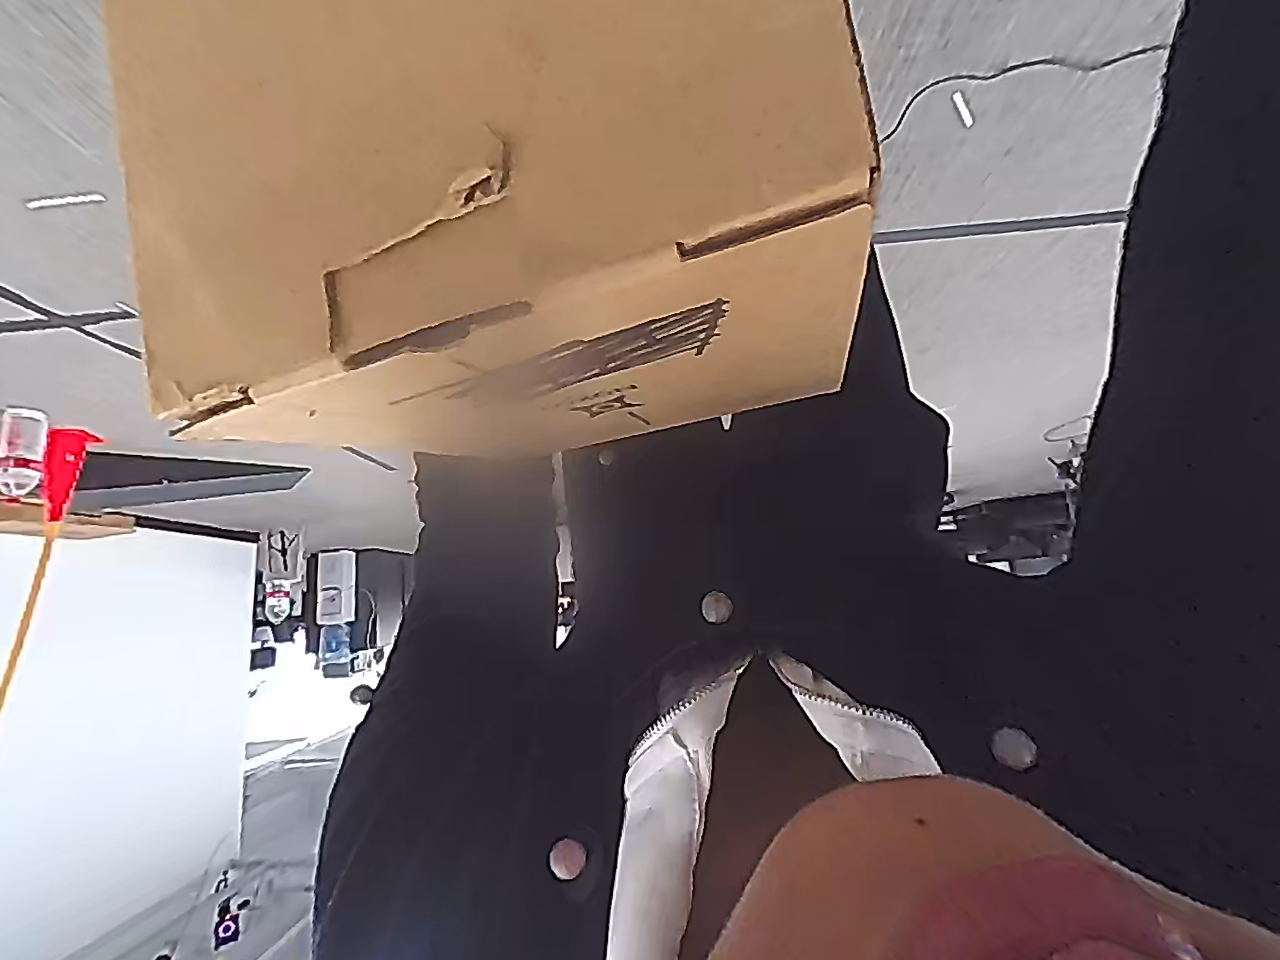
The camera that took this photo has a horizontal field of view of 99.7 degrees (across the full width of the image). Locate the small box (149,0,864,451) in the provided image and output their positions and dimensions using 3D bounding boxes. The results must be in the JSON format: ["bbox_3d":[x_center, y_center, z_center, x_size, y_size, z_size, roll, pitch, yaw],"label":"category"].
[{"bbox_3d":[-0.029,-0.114,0.195,0.168,0.176,0.179,-11,177,18],"label":"small box"}]
